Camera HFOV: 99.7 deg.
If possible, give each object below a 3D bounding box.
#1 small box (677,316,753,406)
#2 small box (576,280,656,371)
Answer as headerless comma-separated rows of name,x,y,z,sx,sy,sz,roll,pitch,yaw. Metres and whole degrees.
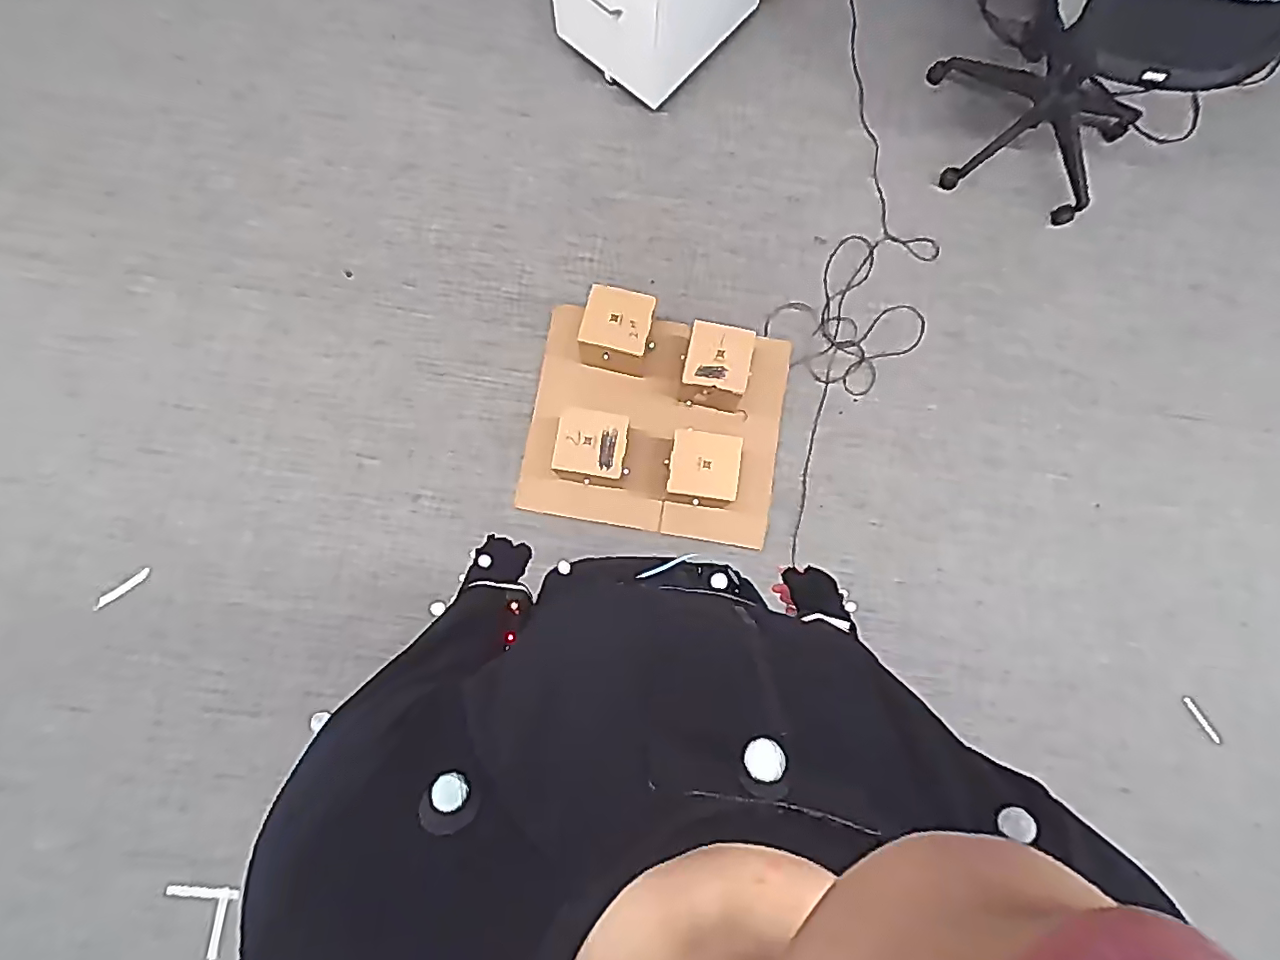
small box,0.199,-0.316,1.476,0.168,0.176,0.179,12,81,2
small box,-0.063,-0.415,1.480,0.179,0.176,0.168,14,82,1
